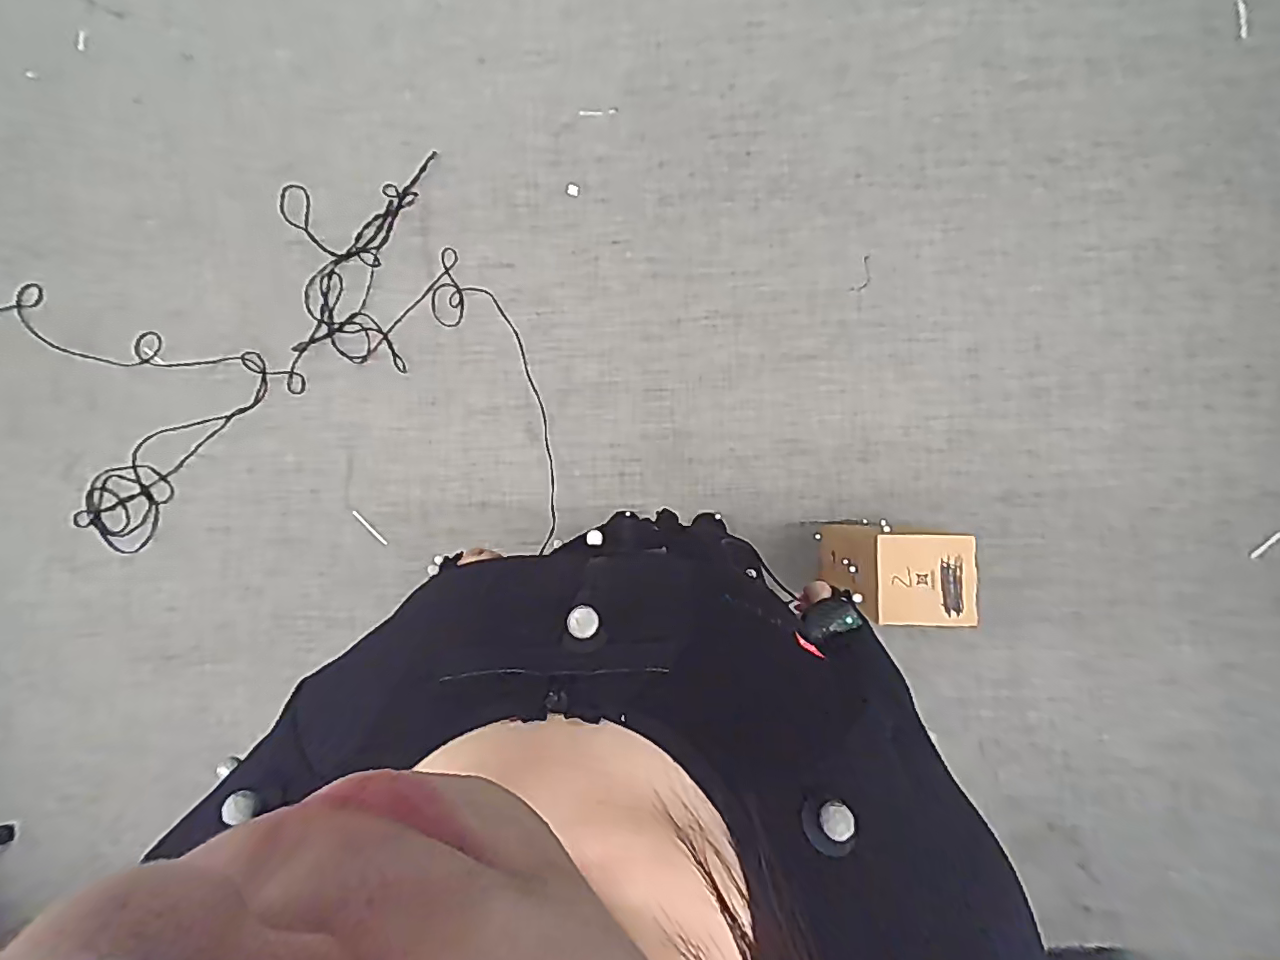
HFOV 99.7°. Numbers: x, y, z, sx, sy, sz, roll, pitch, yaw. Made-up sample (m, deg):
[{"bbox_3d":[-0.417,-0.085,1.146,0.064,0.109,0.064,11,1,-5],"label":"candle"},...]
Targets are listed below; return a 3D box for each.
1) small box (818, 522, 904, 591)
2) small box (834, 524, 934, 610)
[{"bbox_3d":[0.564,0.195,1.392,0.179,0.176,0.168,0,88,4],"label":"small box"},{"bbox_3d":[0.545,0.191,1.228,0.168,0.176,0.179,0,88,5],"label":"small box"}]
